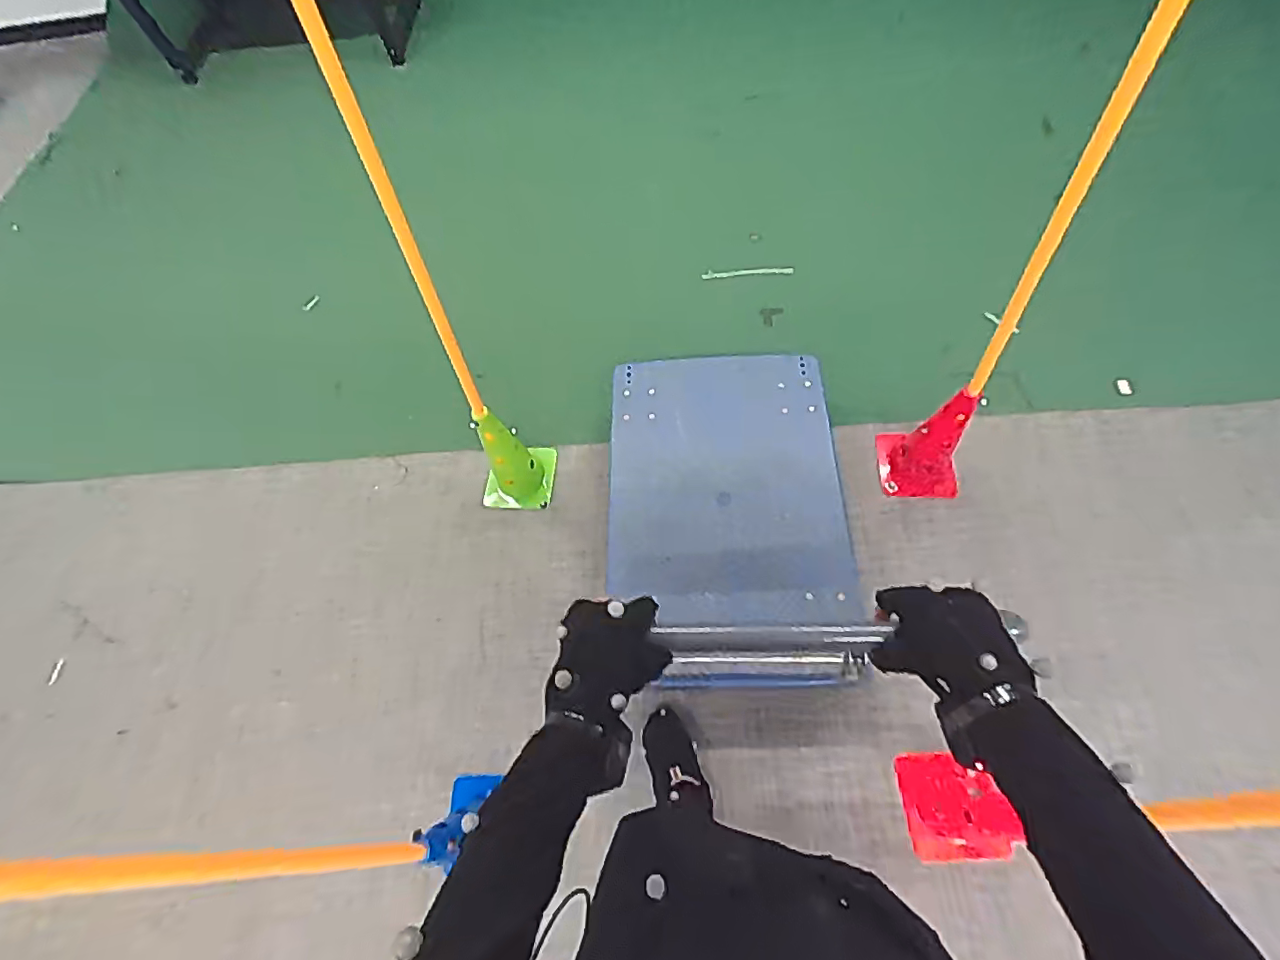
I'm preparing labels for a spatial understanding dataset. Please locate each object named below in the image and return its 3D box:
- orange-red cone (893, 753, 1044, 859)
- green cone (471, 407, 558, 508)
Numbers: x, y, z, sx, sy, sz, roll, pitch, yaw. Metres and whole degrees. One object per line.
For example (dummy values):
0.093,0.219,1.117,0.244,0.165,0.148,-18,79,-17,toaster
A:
0.646,0.626,1.020,0.199,0.360,0.198,-4,63,6,orange-red cone
-0.369,-0.085,1.474,0.202,0.368,0.200,1,63,7,green cone
